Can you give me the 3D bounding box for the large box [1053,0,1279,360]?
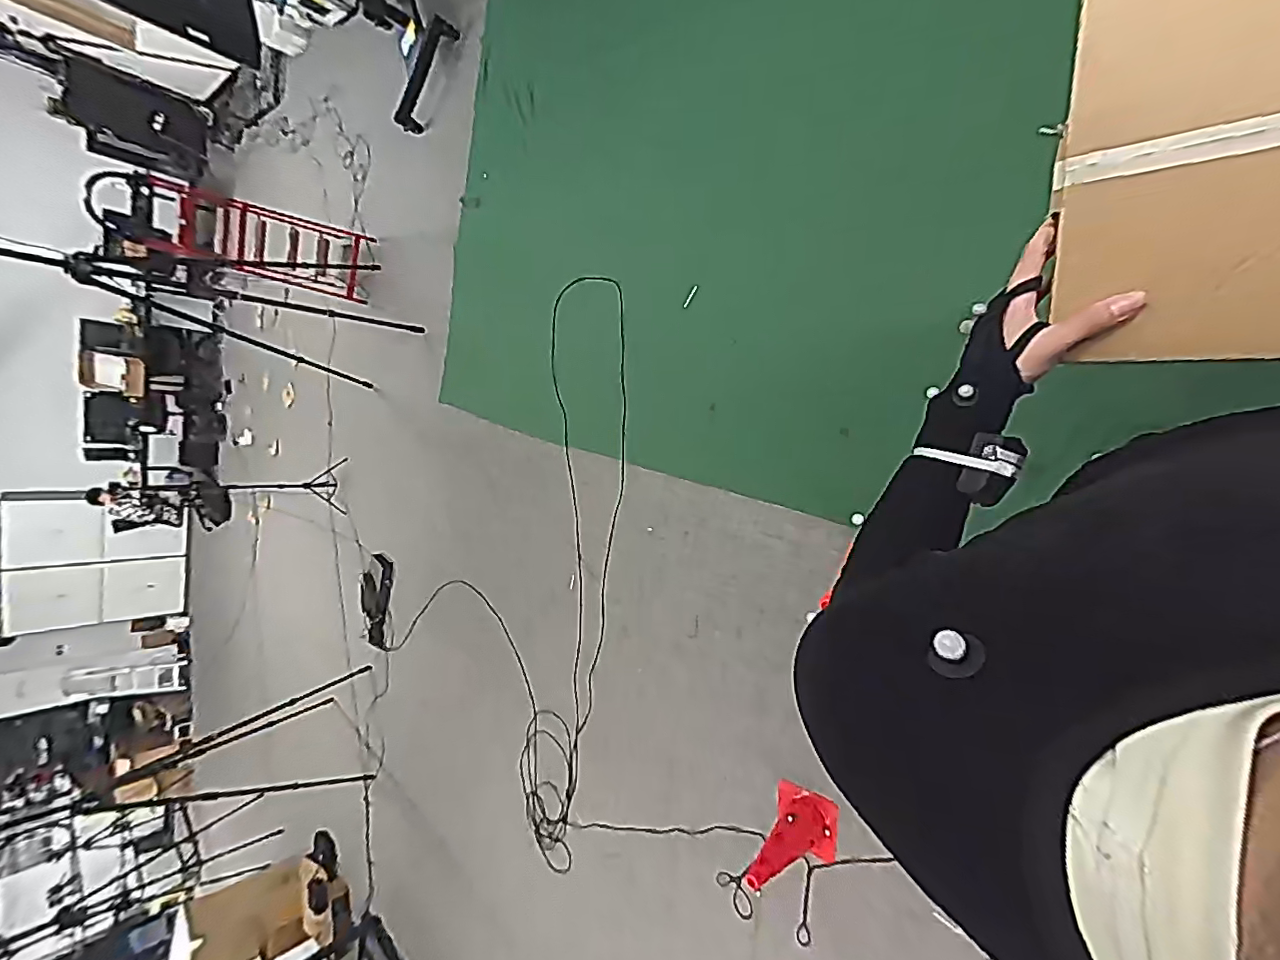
[{"bbox_3d":[0.603,-0.279,0.437,0.408,0.320,0.320,7,111,39],"label":"large box"}]
